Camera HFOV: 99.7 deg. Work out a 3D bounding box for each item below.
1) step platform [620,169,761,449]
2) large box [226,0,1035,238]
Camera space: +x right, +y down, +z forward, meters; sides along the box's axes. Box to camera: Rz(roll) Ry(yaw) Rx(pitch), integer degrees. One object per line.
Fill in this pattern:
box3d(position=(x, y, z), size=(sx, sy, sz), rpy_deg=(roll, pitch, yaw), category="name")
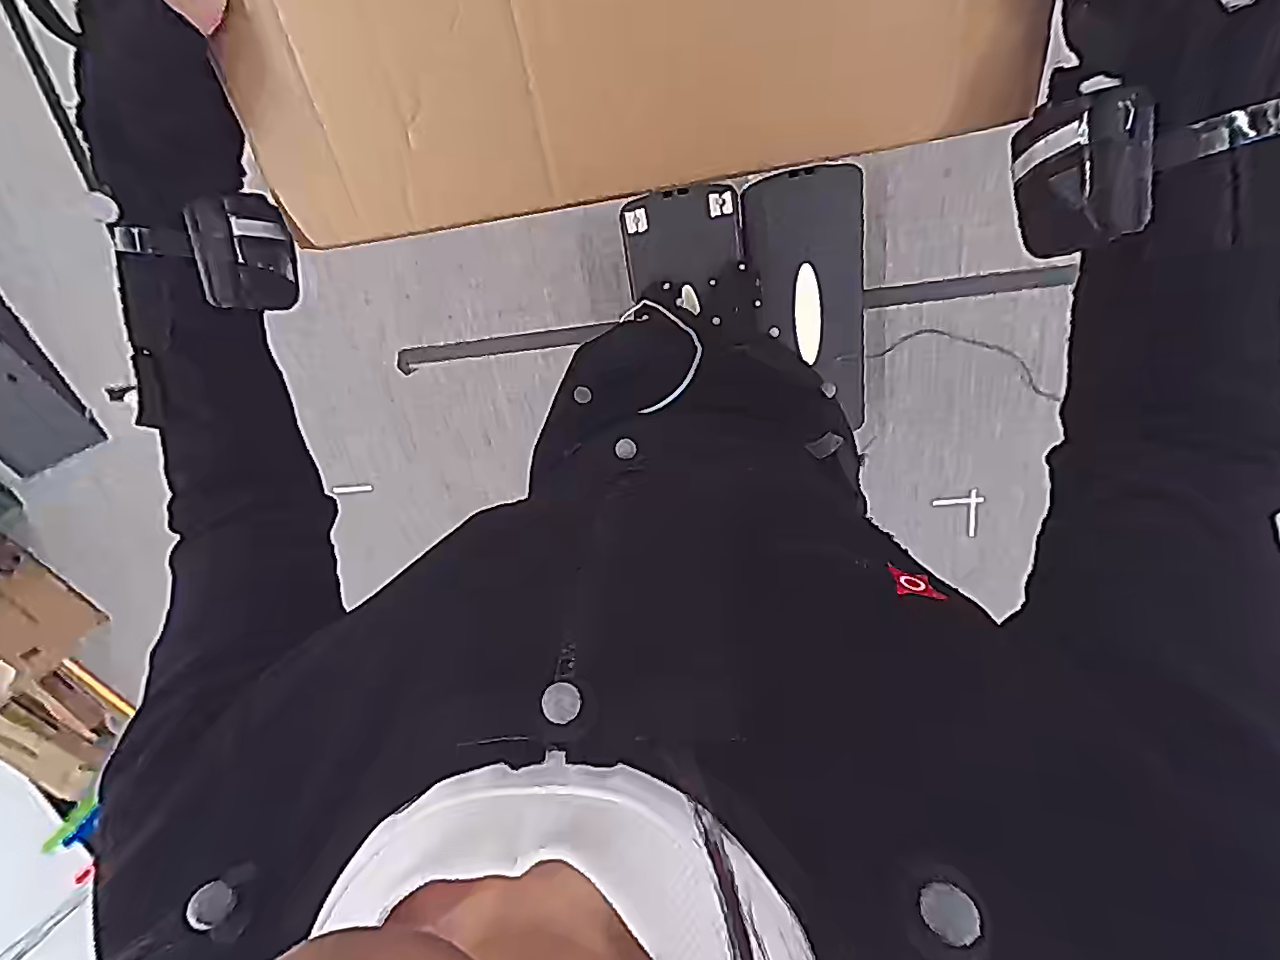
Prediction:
box3d(position=(0.144, -0.422, 1.411), size=(0.286, 0.204, 0.684), rpy_deg=(-6, 110, 12), category="step platform")
box3d(position=(-0.013, -0.375, 0.362), size=(0.408, 0.320, 0.320), rpy_deg=(-5, 120, 10), category="large box")
